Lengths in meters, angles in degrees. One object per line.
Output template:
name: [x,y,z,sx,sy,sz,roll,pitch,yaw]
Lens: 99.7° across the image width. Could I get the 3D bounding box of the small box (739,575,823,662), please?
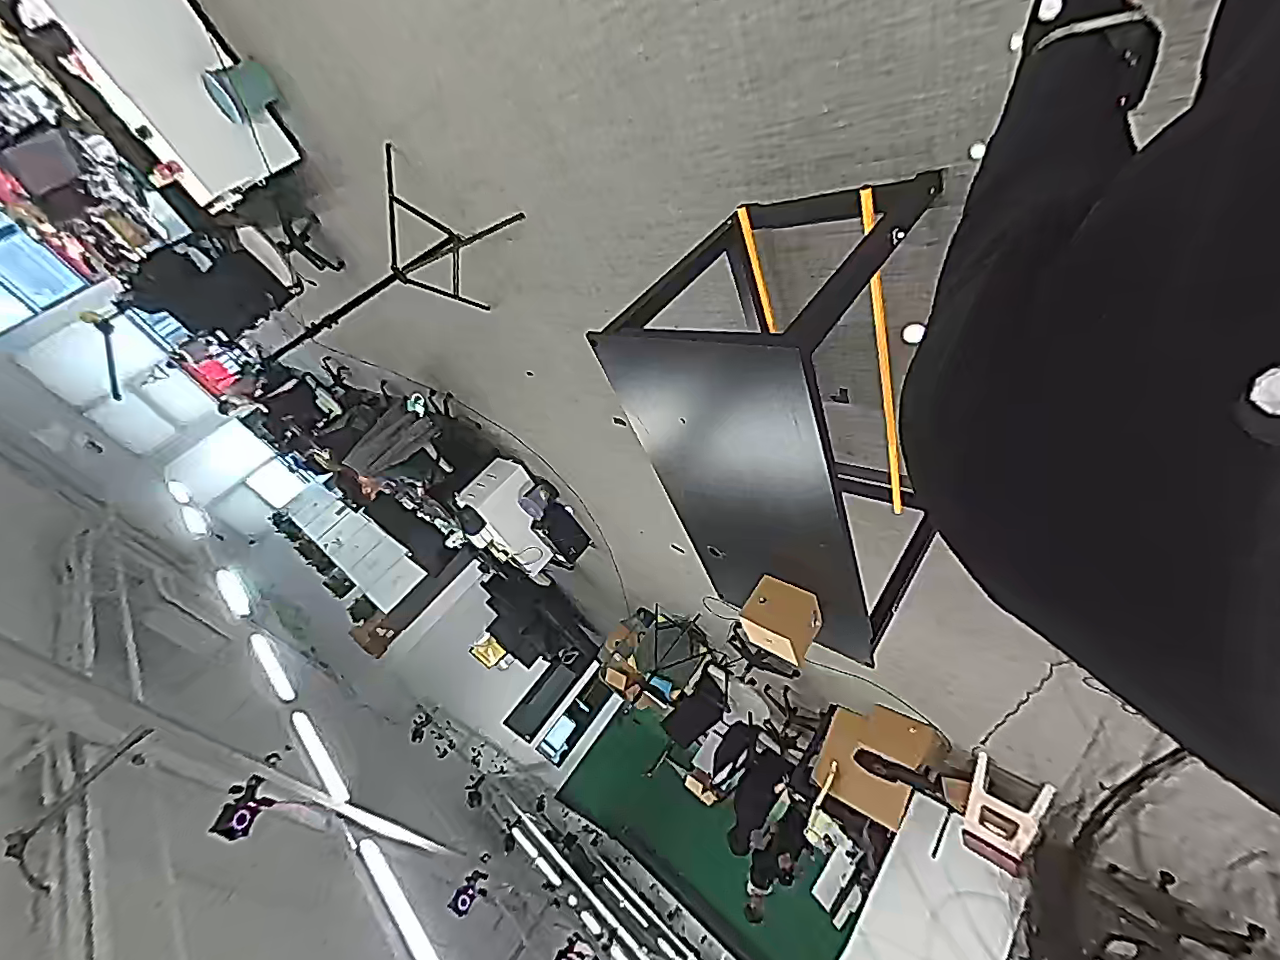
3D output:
small box: [0.437,0.418,1.665,0.179,0.176,0.168,18,148,41]
